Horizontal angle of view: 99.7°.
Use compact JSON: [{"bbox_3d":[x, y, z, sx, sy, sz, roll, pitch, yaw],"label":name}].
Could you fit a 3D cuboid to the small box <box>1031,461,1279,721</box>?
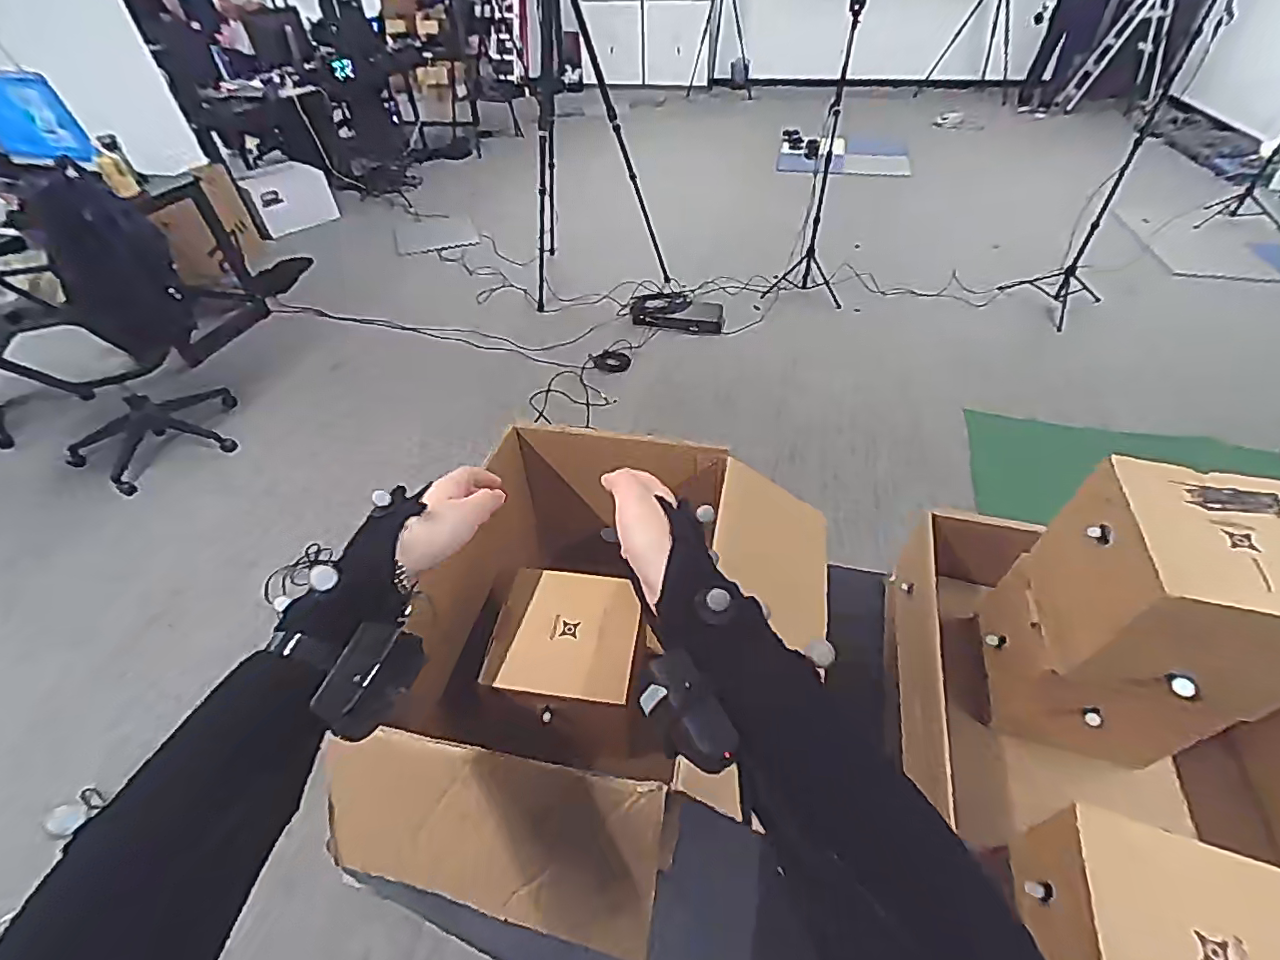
[{"bbox_3d":[0.536,0.111,0.548,0.168,0.176,0.179,11,48,13],"label":"small box"}]
